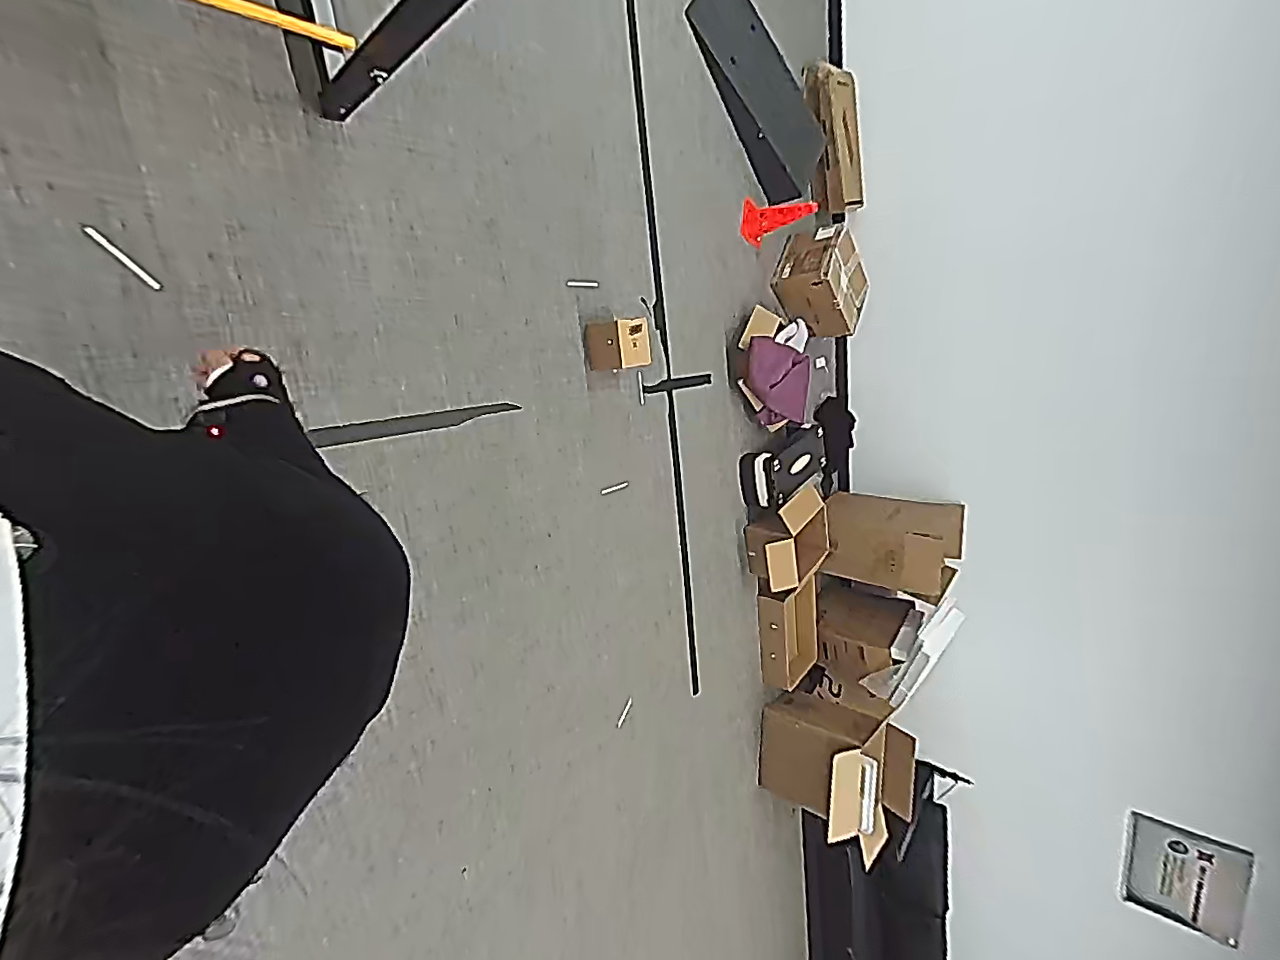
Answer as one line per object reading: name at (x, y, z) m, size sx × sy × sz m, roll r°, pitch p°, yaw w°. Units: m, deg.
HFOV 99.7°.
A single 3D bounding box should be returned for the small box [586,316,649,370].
small box at (-0.088, -0.519, 2.051) m, size 0.168 × 0.176 × 0.179 m, roll -22°, pitch 111°, yaw -45°
